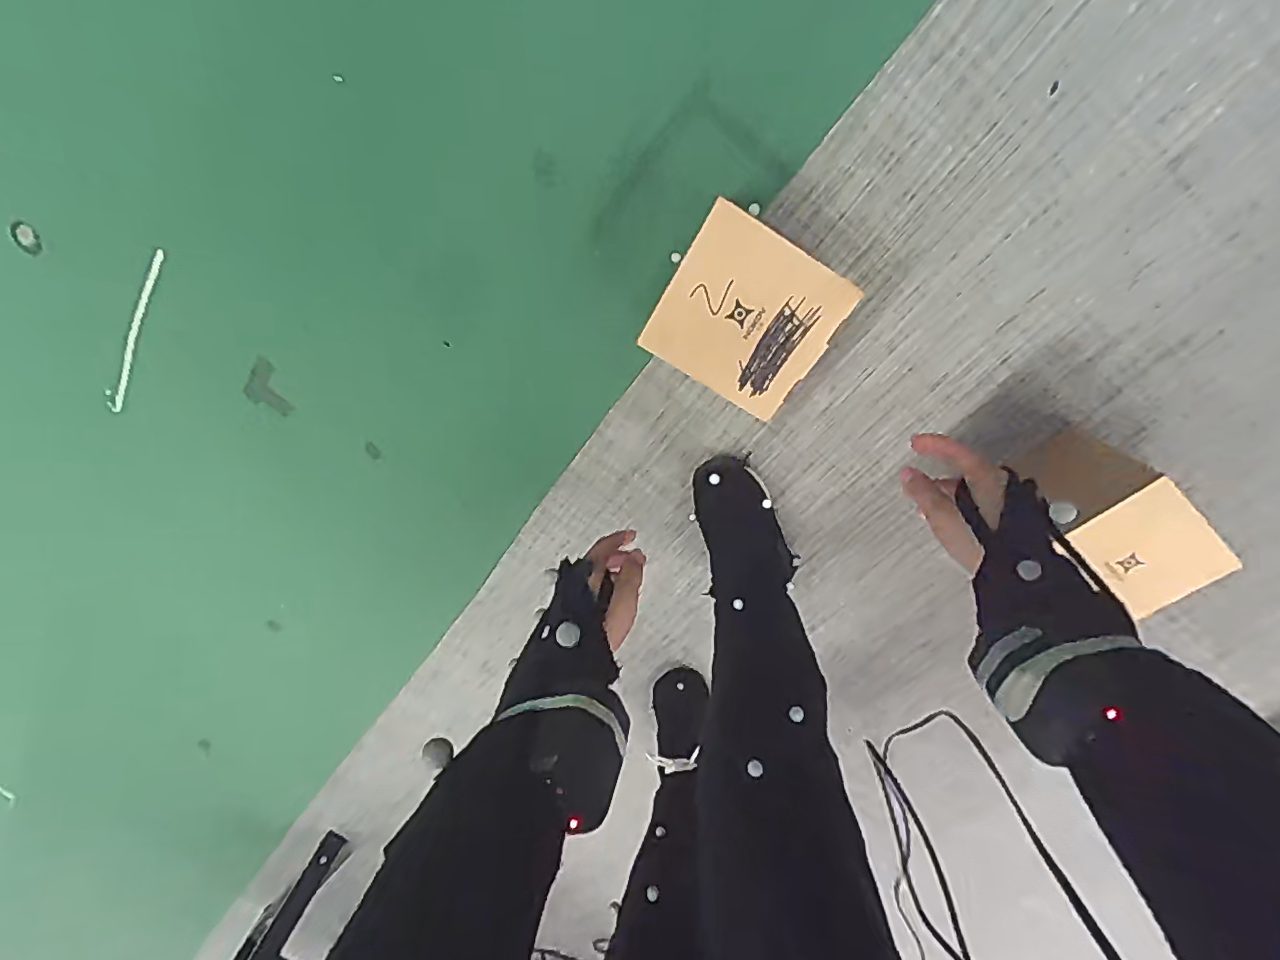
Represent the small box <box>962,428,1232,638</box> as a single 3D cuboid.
[{"bbox_3d":[0.570,0.061,0.704,0.168,0.176,0.179,40,115,-12],"label":"small box"}]
